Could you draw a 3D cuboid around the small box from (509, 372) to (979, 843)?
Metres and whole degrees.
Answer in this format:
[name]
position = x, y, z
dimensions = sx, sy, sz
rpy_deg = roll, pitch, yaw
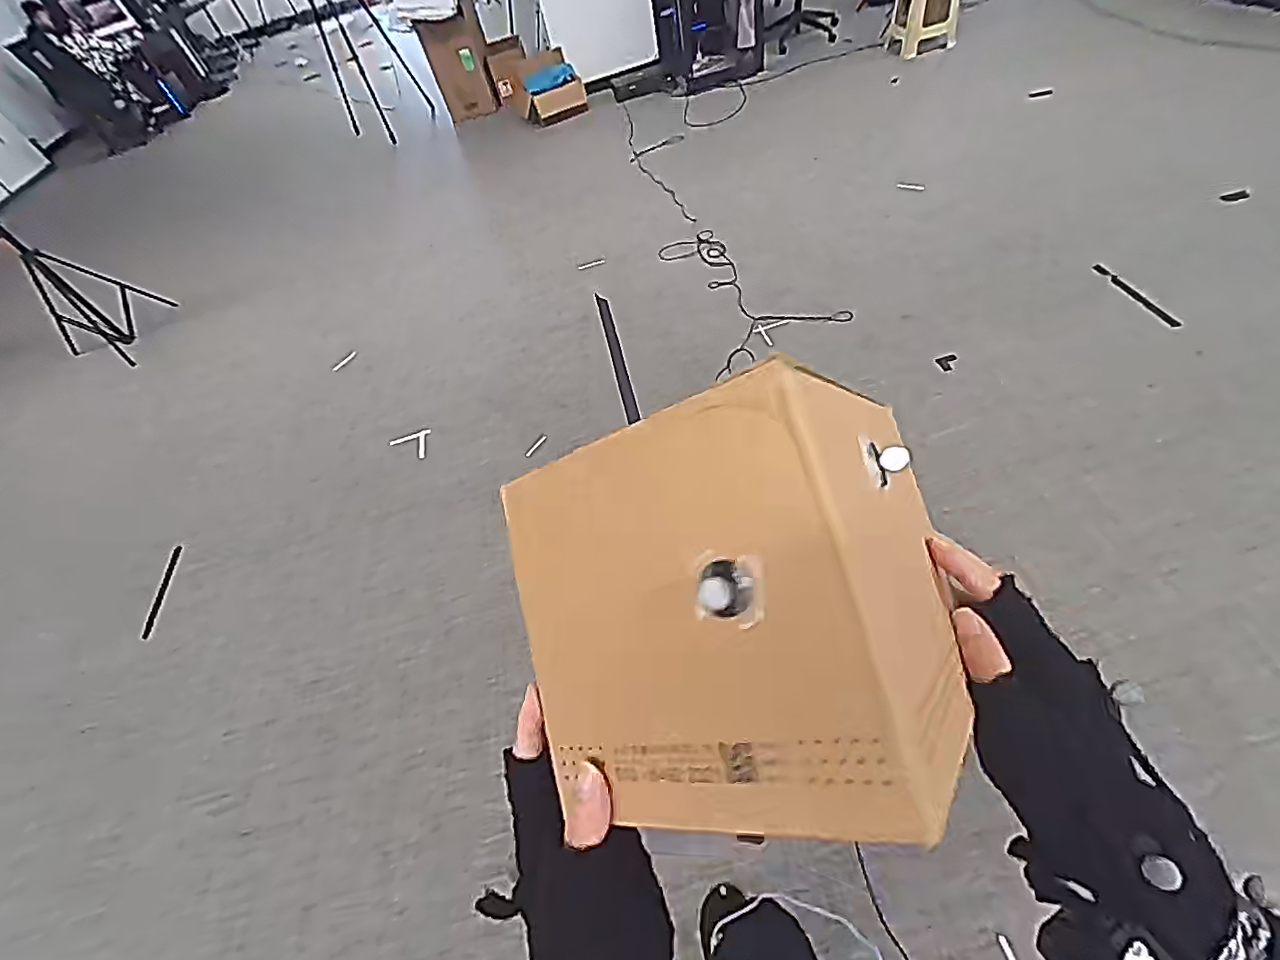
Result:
[small box]
position = 0.062, 0.065, 0.293
dimensions = 0.168, 0.179, 0.176
rpy_deg = -21, 77, 33
